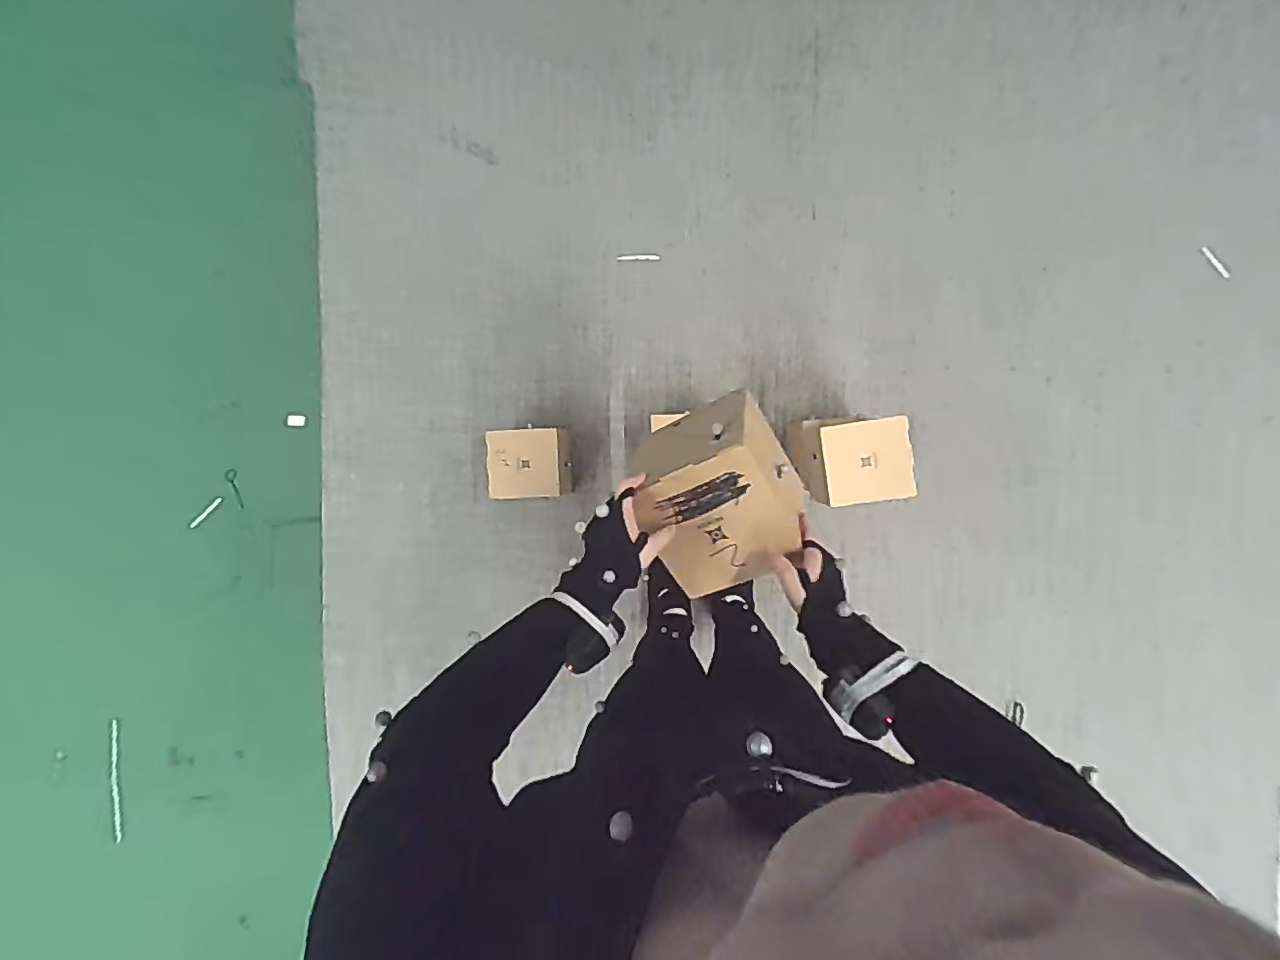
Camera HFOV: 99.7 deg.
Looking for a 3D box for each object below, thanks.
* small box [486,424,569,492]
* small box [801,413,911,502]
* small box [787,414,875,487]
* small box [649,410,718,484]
[{"bbox_3d":[-0.278,-0.056,1.379,0.179,0.176,0.168,-1,92,4],"label":"small box"},{"bbox_3d":[0.454,-0.047,1.165,0.179,0.176,0.168,-8,92,4],"label":"small box"},{"bbox_3d":[0.462,-0.070,1.327,0.179,0.176,0.168,-3,93,4],"label":"small box"},{"bbox_3d":[0.109,-0.081,1.350,0.168,0.176,0.179,0,92,4],"label":"small box"}]
